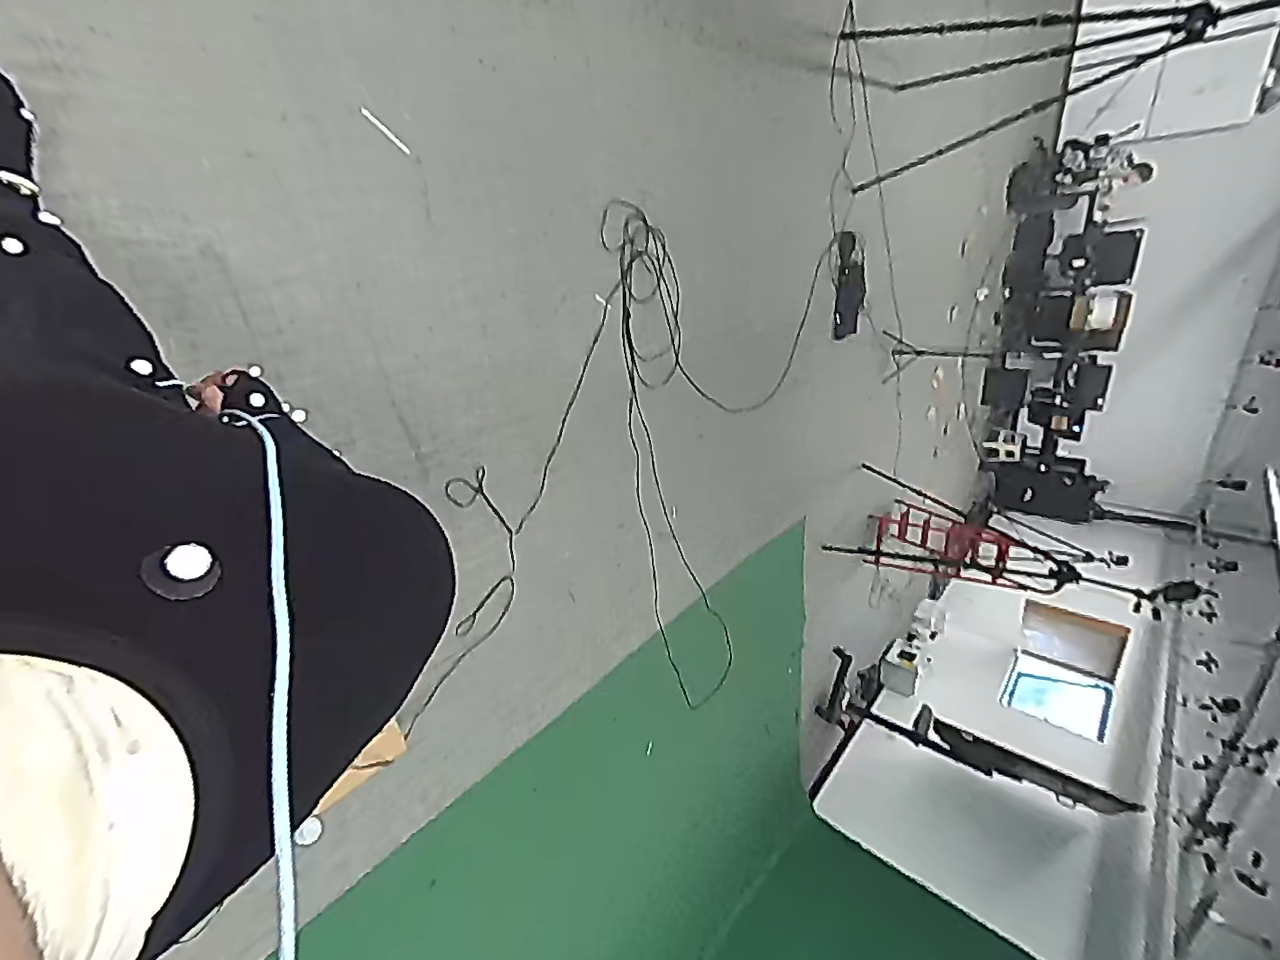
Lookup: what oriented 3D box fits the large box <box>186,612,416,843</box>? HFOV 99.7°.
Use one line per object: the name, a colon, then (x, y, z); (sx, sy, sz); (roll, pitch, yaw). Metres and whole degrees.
large box: (-0.897, 0.631, 1.457); (0.408, 0.320, 0.320); (-30, 121, -38)
